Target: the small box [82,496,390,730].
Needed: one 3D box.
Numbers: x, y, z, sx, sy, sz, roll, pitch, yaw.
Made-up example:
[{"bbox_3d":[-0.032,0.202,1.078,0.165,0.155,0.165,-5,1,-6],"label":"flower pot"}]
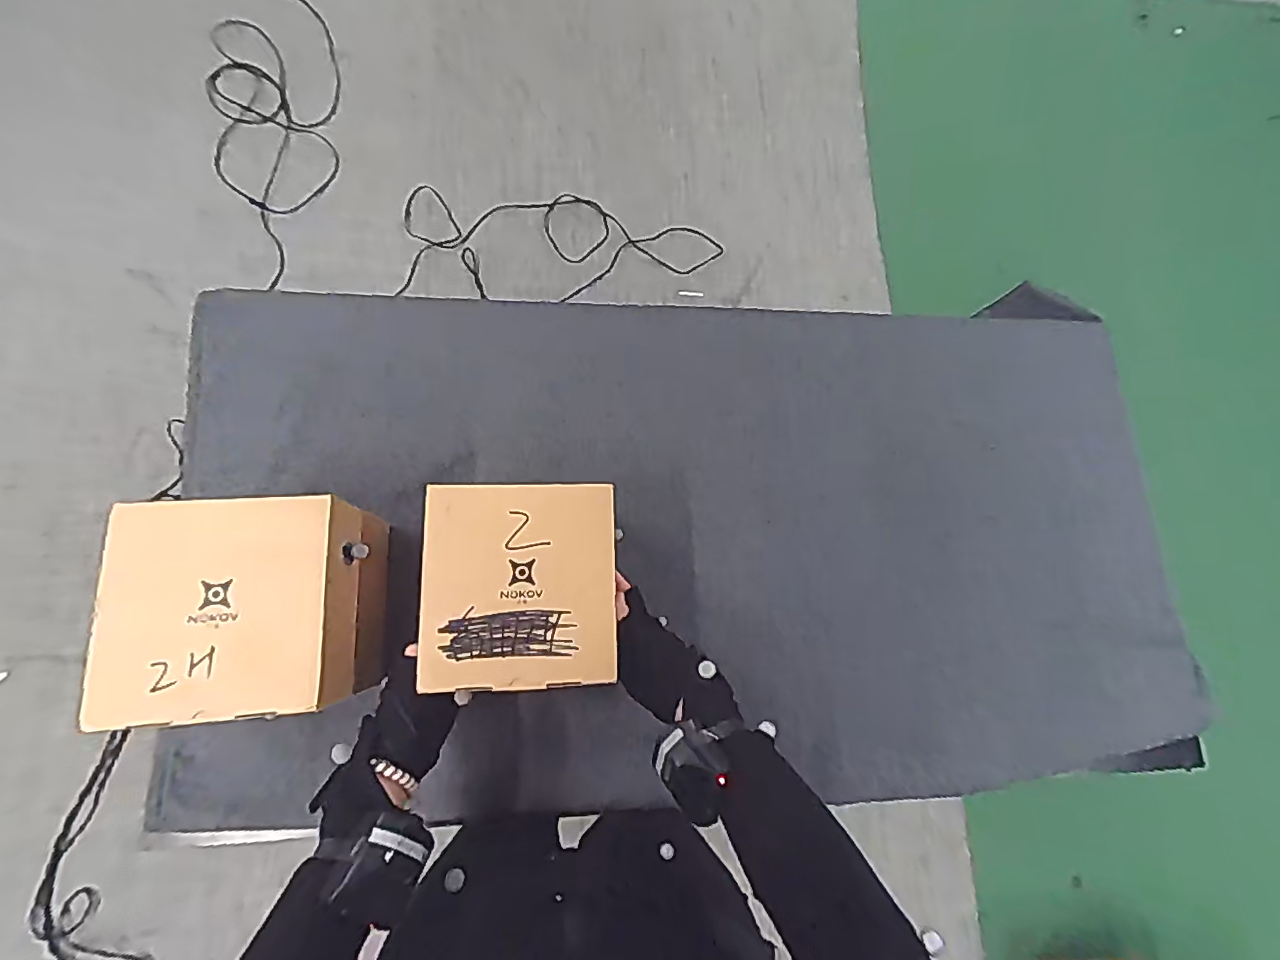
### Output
[{"bbox_3d":[-0.345,0.118,0.505,0.168,0.176,0.179,-2,77,-9],"label":"small box"}]
